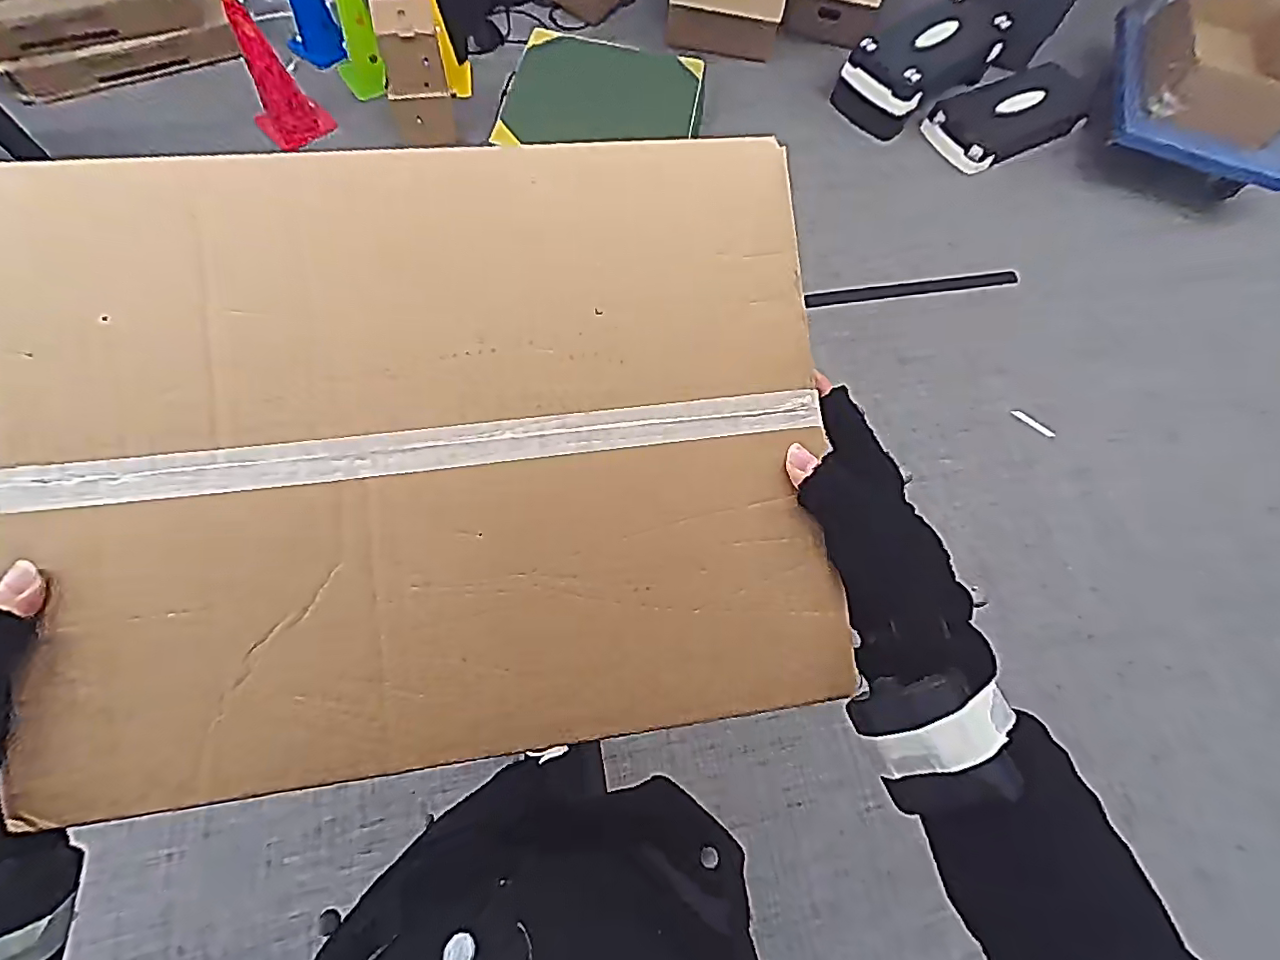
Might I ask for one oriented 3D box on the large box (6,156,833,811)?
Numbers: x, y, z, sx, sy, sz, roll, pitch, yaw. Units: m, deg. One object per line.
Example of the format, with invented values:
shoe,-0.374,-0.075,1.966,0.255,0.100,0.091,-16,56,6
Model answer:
large box,-0.118,-0.008,0.434,0.408,0.320,0.320,-6,87,-7
